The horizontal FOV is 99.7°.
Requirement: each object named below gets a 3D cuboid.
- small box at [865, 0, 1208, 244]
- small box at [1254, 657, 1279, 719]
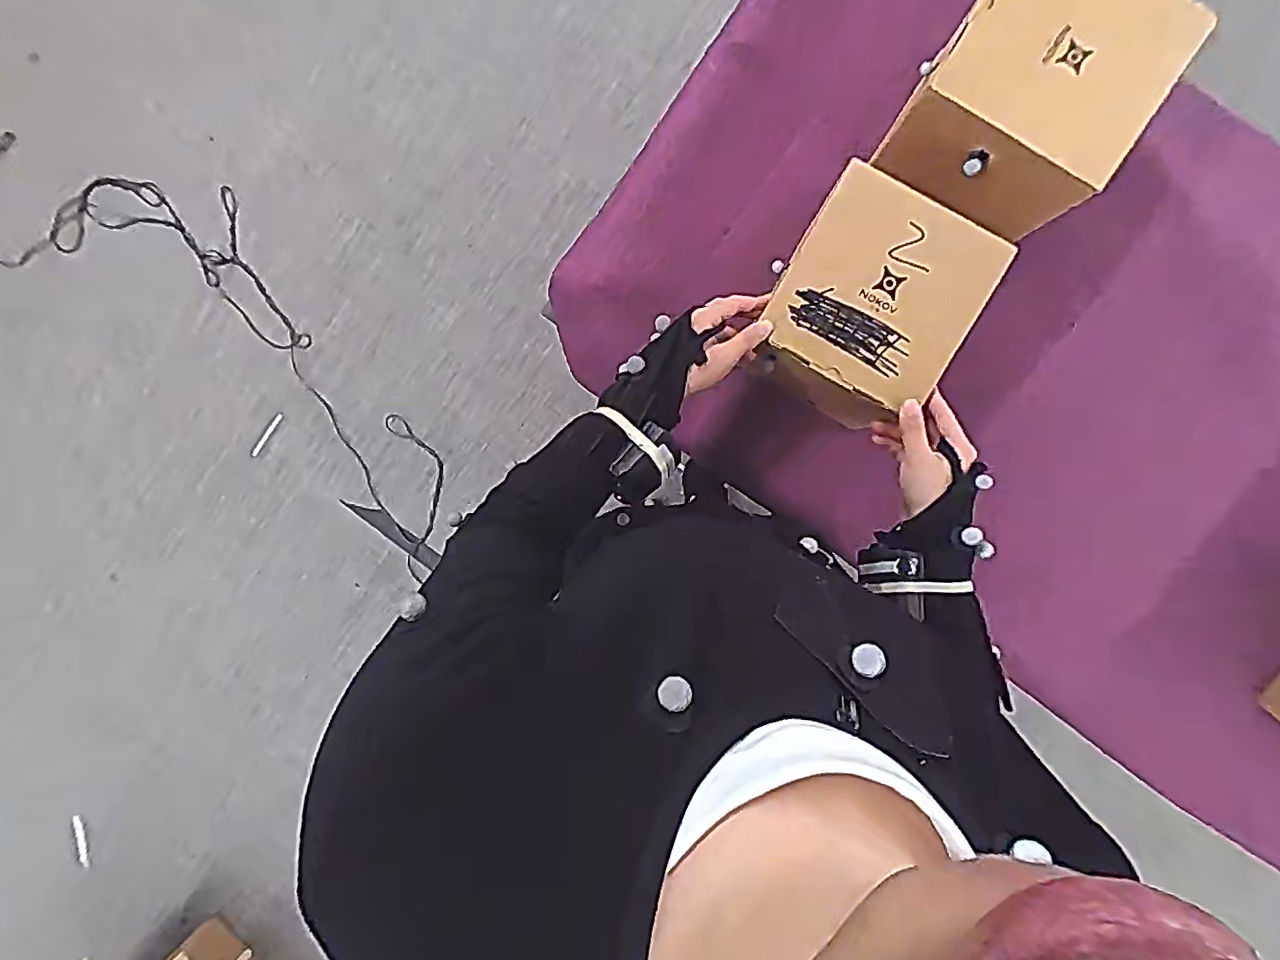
[{"bbox_3d":[0.366,-0.365,0.539,0.179,0.176,0.168,33,95,1],"label":"small box"},{"bbox_3d":[0.822,0.244,0.545,0.179,0.176,0.168,38,93,1],"label":"small box"}]
